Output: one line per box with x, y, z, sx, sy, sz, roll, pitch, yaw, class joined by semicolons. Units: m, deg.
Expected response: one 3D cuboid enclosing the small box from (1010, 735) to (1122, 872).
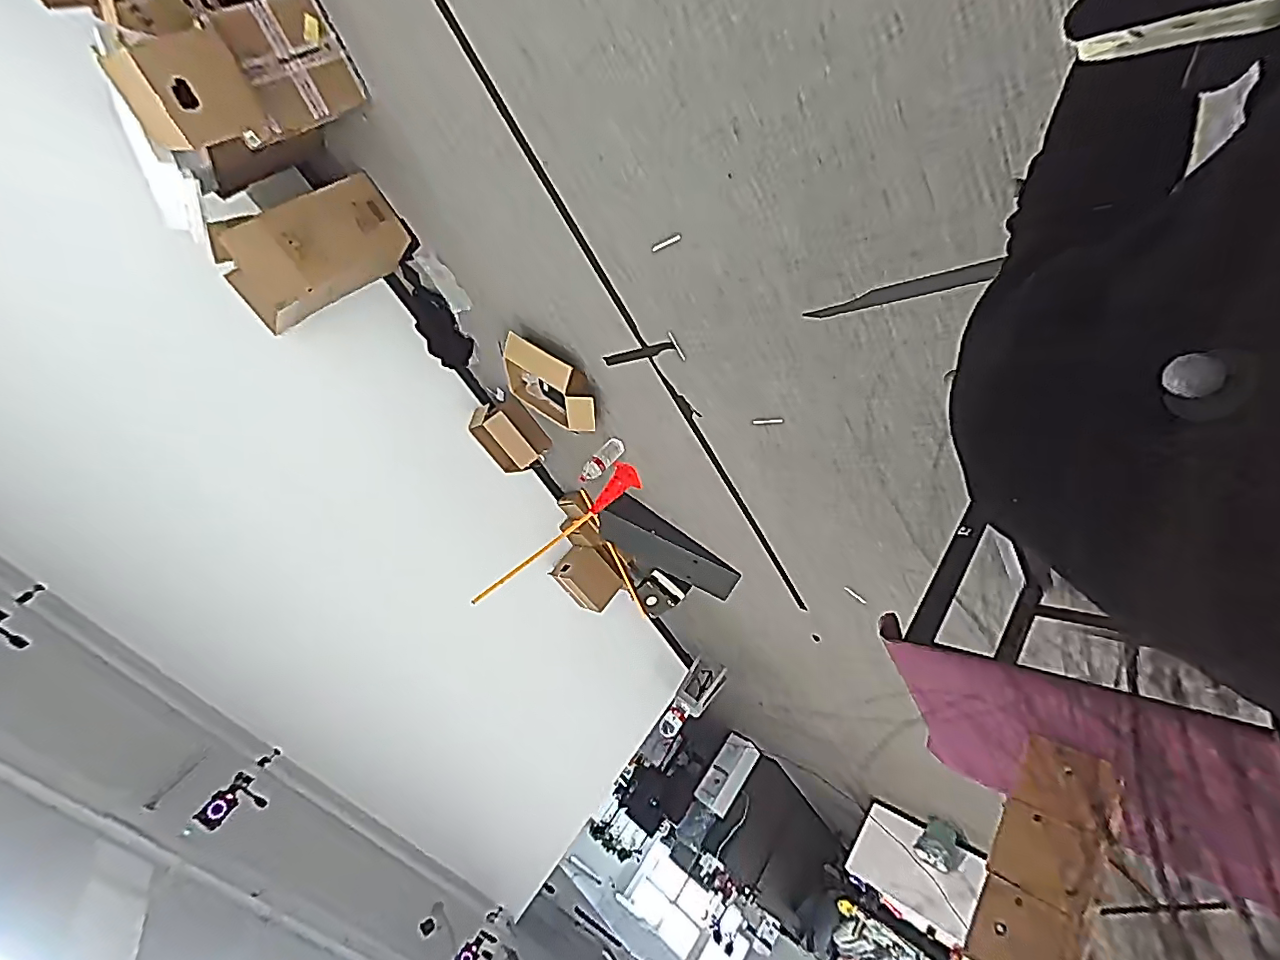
0.957;0.715;1.210;0.168;0.176;0.179;9;138;48;small box

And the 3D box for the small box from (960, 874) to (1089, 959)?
0.756;0.926;1.062;0.168;0.176;0.179;12;142;48;small box
